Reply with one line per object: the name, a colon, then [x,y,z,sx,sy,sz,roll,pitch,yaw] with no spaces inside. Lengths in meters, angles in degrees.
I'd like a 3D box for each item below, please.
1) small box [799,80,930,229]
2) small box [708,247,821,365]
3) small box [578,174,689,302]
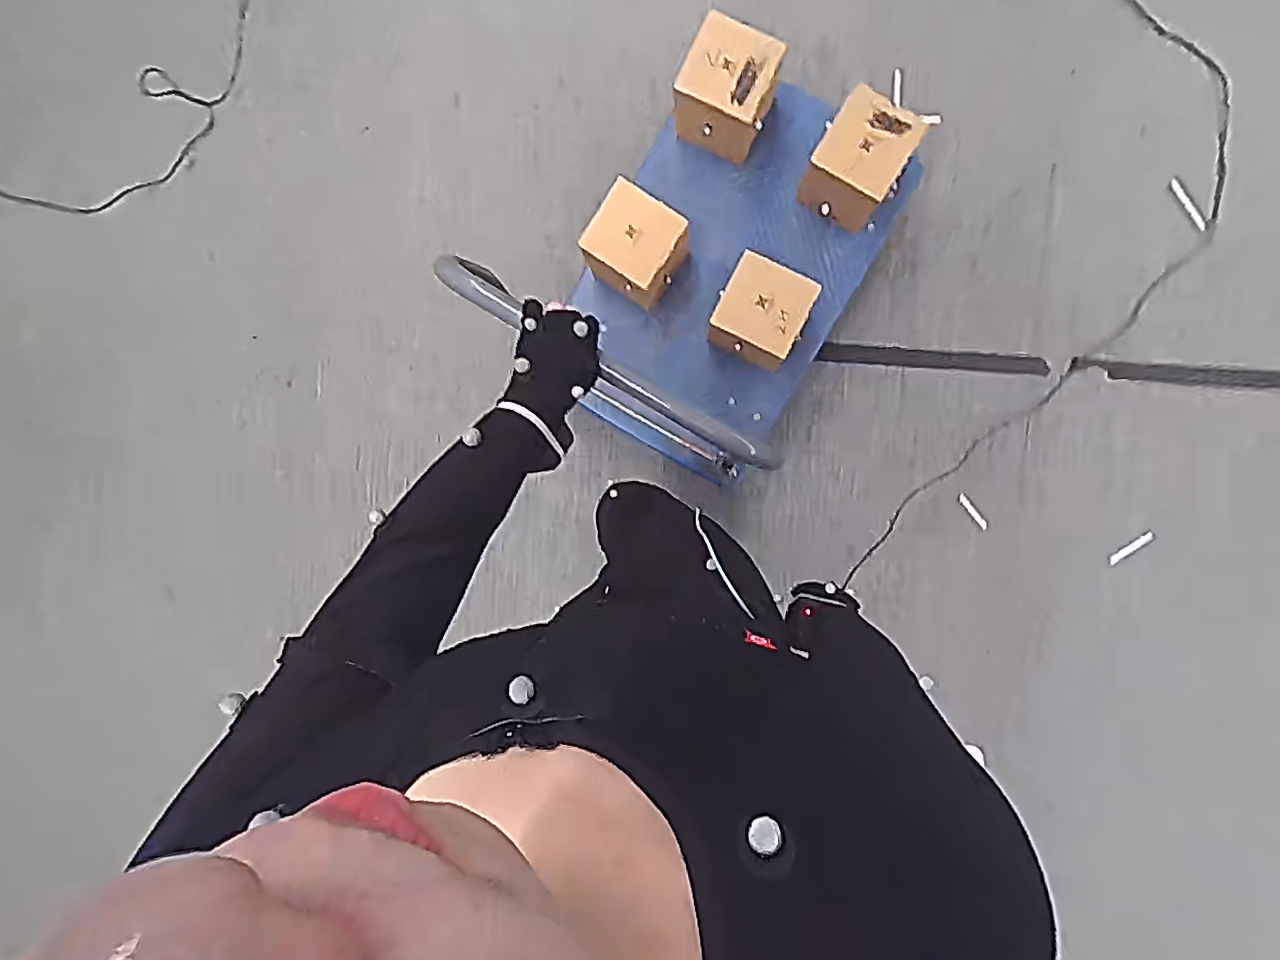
small box: [0.459,-0.675,1.142,0.168,0.176,0.179,33,96,2]
small box: [0.259,-0.366,1.176,0.179,0.176,0.168,28,95,3]
small box: [-0.010,-0.519,1.192,0.179,0.176,0.168,34,95,0]
